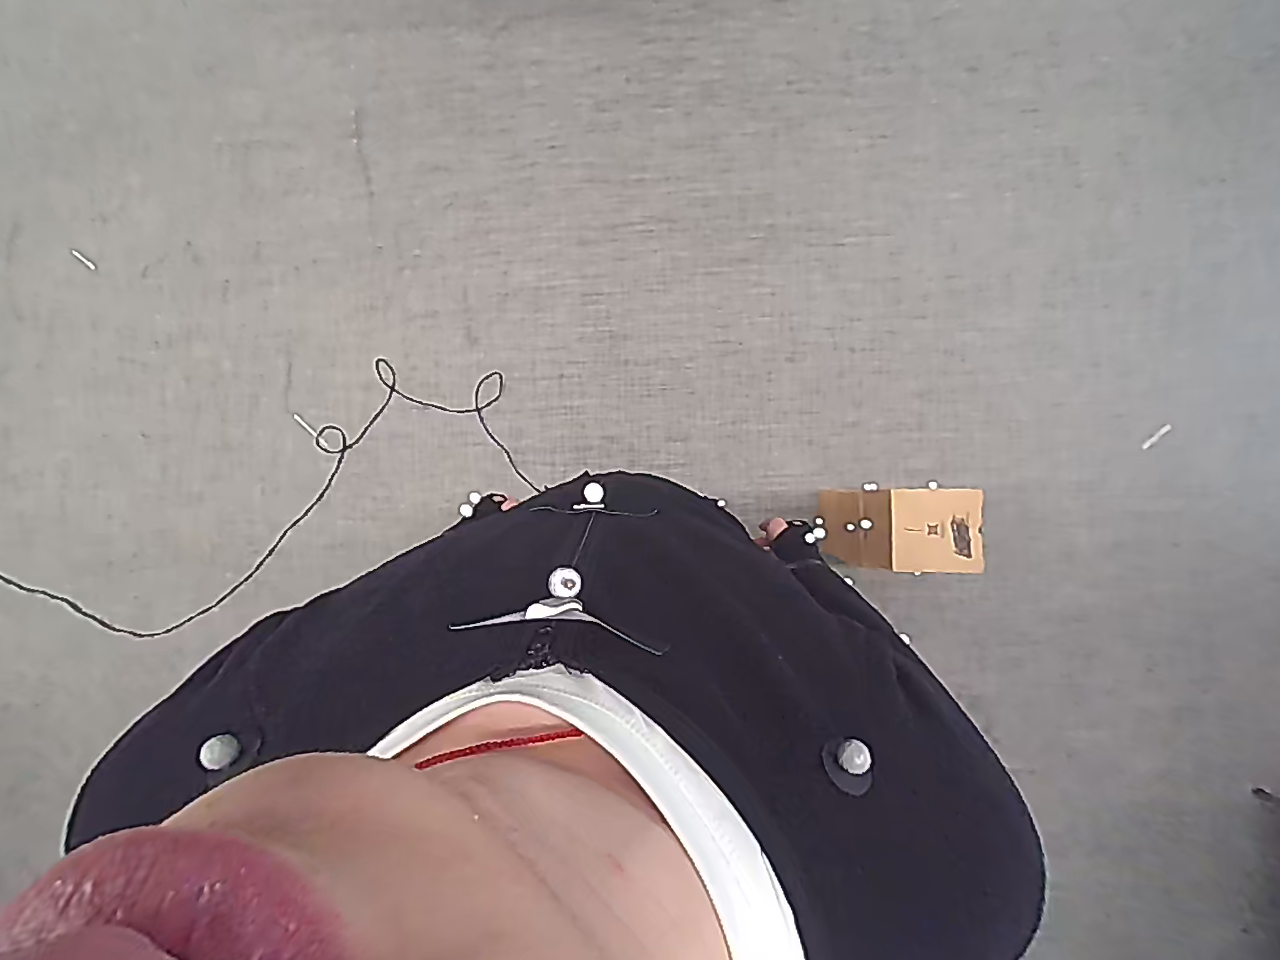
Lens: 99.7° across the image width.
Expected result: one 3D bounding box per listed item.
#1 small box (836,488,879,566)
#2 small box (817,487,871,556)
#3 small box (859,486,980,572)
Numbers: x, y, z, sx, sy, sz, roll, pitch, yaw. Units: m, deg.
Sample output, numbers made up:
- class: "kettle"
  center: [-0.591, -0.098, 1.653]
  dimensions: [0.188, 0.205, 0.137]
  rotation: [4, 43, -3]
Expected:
- class: "small box"
  center: [0.581, 0.108, 1.307]
  dimensions: [0.168, 0.176, 0.179]
  rotation: [-1, 92, 3]
- class: "small box"
  center: [0.587, 0.109, 1.468]
  dimensions: [0.168, 0.176, 0.179]
  rotation: [0, 90, 2]
- class: "small box"
  center: [0.581, 0.097, 1.141]
  dimensions: [0.179, 0.176, 0.168]
  rotation: [0, 89, 3]
